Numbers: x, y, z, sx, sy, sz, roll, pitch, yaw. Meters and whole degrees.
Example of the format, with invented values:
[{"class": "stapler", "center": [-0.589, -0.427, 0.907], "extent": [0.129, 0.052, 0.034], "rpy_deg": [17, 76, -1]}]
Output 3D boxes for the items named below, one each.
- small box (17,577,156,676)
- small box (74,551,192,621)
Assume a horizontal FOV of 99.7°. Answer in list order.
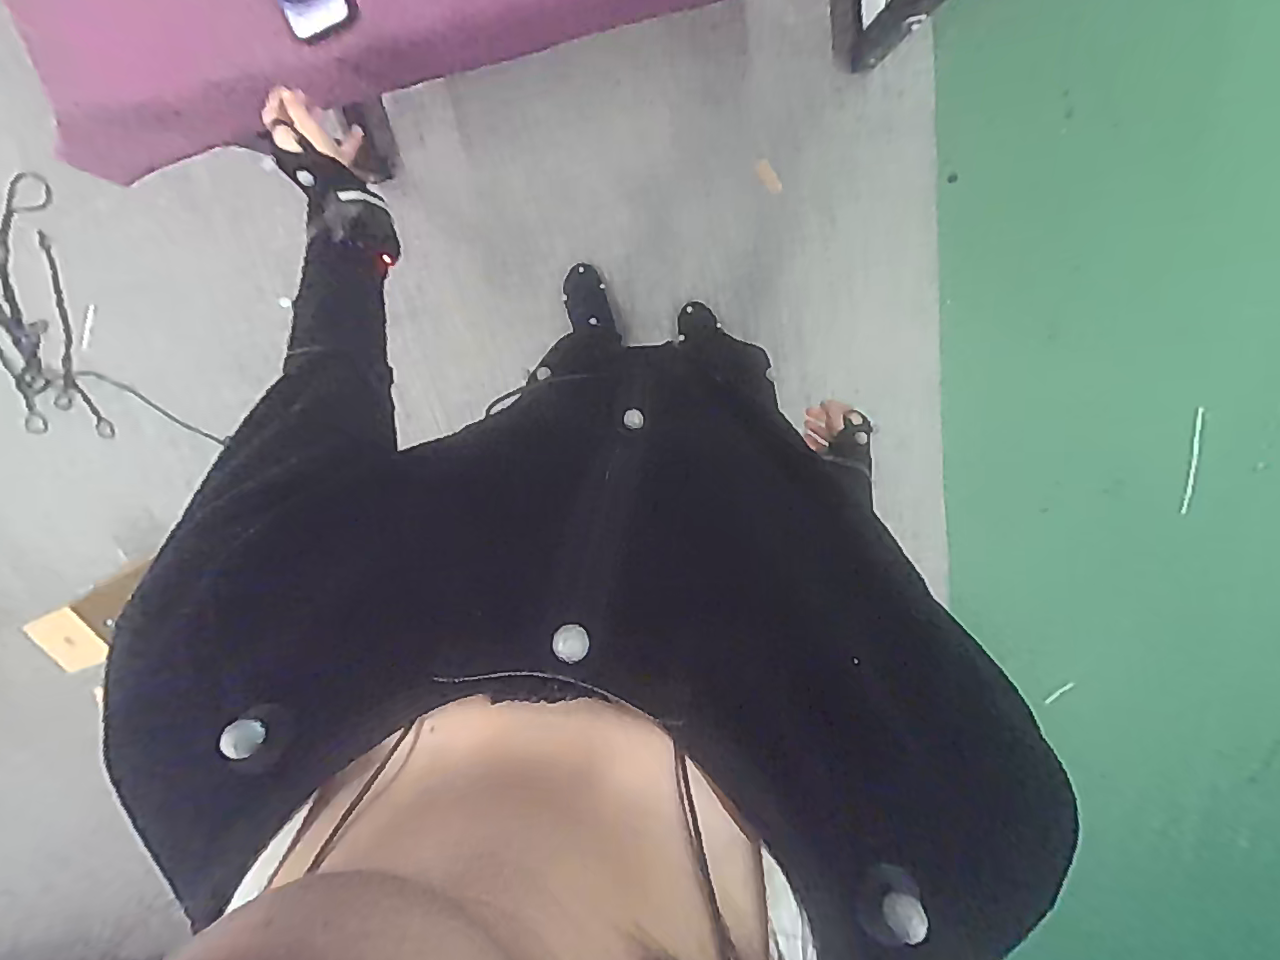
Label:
[{"class": "small box", "center": [-1.524, 0.403, 1.504], "extent": [0.168, 0.176, 0.179], "rpy_deg": [-22, 109, 9]}, {"class": "small box", "center": [-1.533, 0.340, 1.654], "extent": [0.179, 0.176, 0.168], "rpy_deg": [-17, 110, 9]}]
